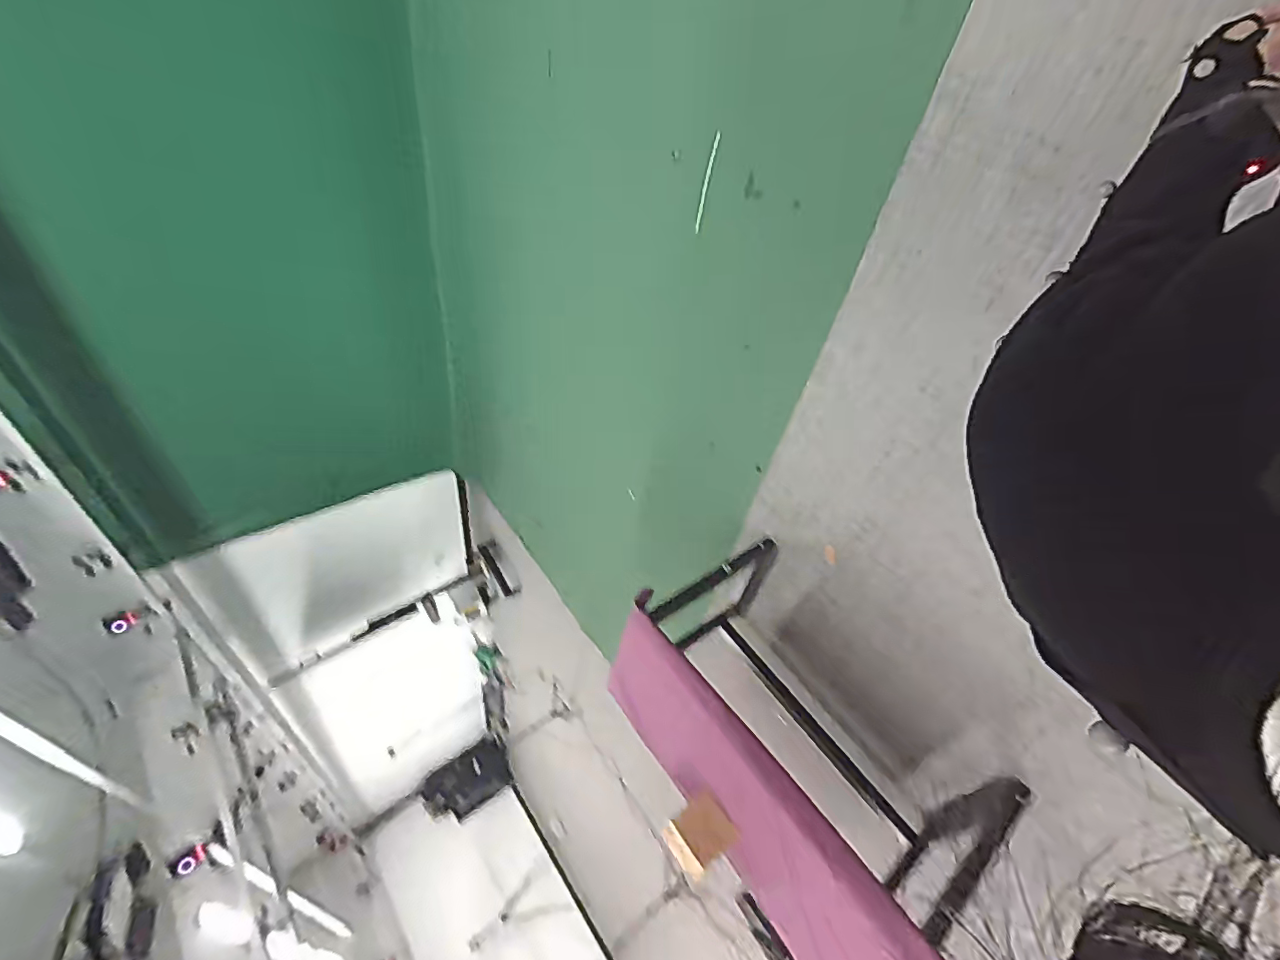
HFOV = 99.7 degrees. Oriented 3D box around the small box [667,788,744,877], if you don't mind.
[{"bbox_3d":[0.225,1.197,1.842,0.179,0.176,0.168,45,141,29],"label":"small box"}]
